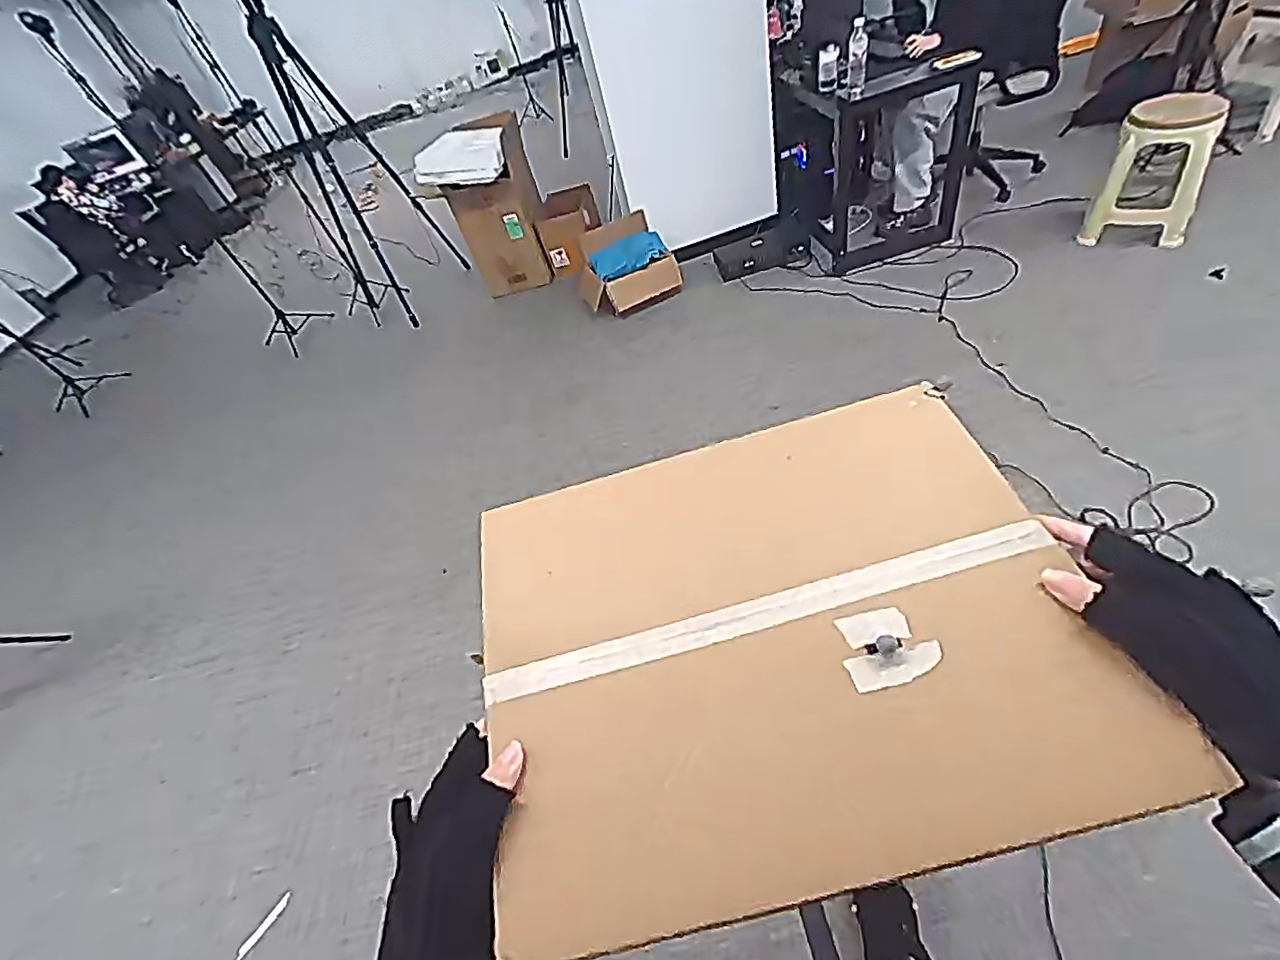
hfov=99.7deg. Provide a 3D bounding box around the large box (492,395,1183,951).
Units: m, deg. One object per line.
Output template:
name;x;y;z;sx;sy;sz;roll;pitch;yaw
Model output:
large box;0.115;0.183;0.516;0.408;0.320;0.320;-17;54;2
